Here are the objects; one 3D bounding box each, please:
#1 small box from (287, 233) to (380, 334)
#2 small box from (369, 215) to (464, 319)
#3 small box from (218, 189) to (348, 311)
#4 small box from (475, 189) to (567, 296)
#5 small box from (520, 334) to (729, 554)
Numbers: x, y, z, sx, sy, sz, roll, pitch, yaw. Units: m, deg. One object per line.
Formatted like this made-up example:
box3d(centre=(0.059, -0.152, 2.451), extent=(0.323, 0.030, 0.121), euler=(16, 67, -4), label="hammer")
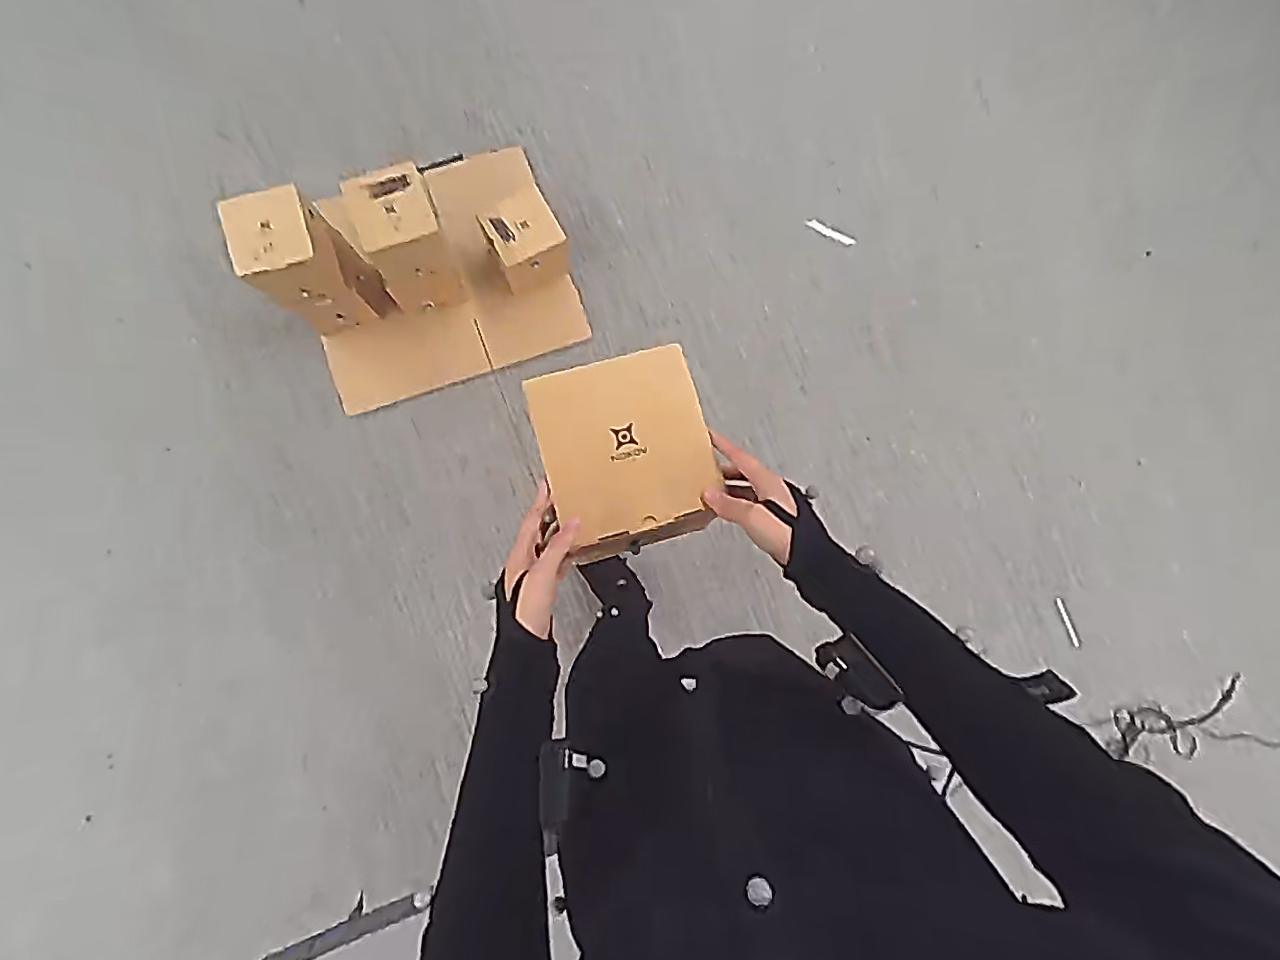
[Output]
box3d(centre=(-0.796, -0.490, 1.384), extent=(0.168, 0.176, 0.179), euler=(-18, 86, -6), label="small box")
box3d(centre=(-0.575, -0.549, 1.409), extent=(0.168, 0.176, 0.179), euler=(-17, 85, -6), label="small box")
box3d(centre=(-0.795, -0.512, 1.220), extent=(0.168, 0.176, 0.179), euler=(-17, 85, -5), label="small box")
box3d(centre=(-0.306, -0.621, 1.437), extent=(0.179, 0.176, 0.168), euler=(-29, 87, -7), label="small box")
box3d(centre=(-0.022, -0.028, 0.591), extent=(0.168, 0.176, 0.179), euler=(-16, 79, -6), label="small box")
